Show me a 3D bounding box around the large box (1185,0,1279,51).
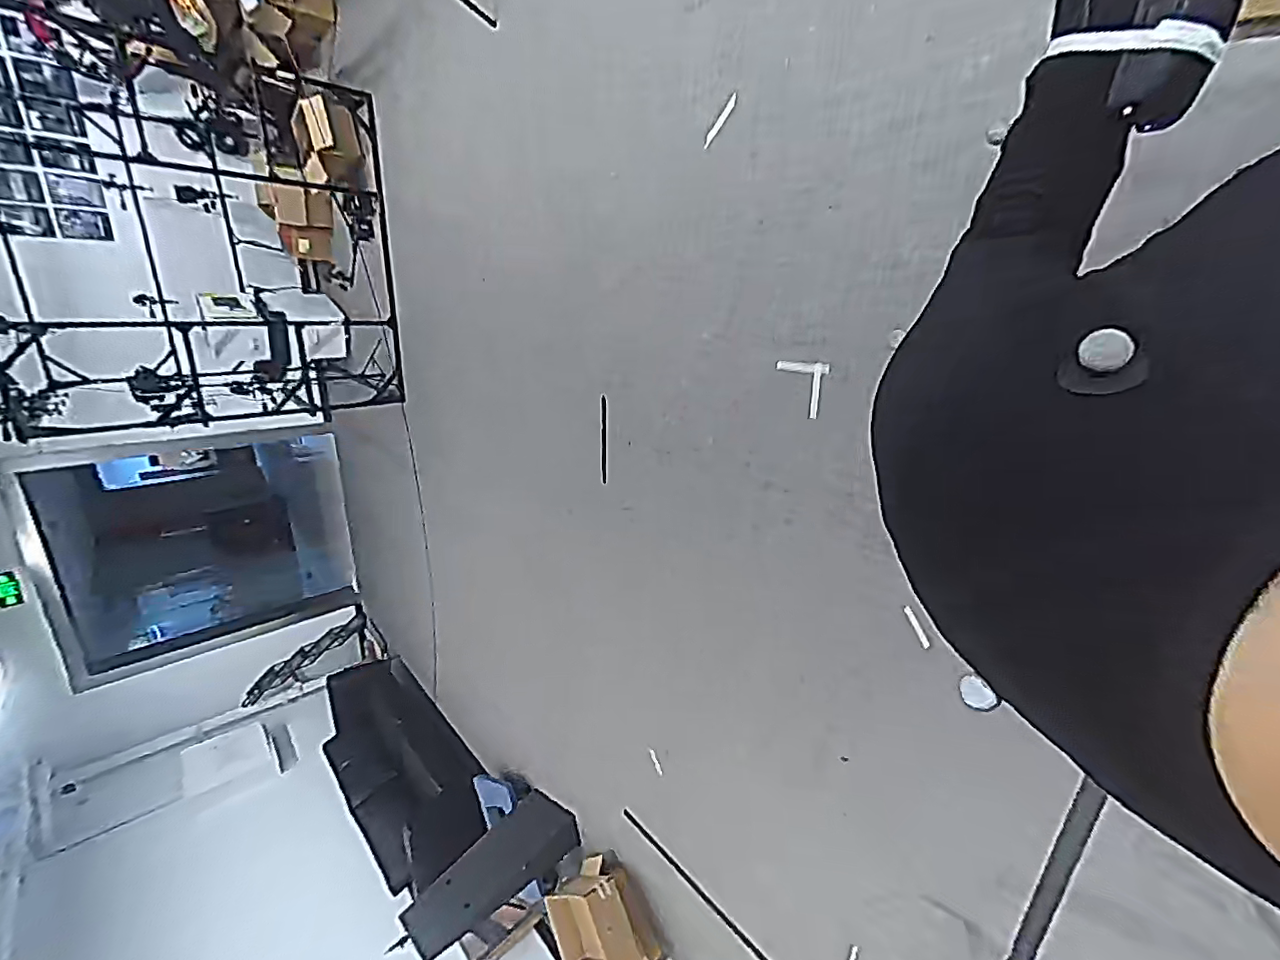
[{"bbox_3d":[0.581,-0.436,0.251,0.408,0.320,0.320,20,131,36],"label":"large box"}]
